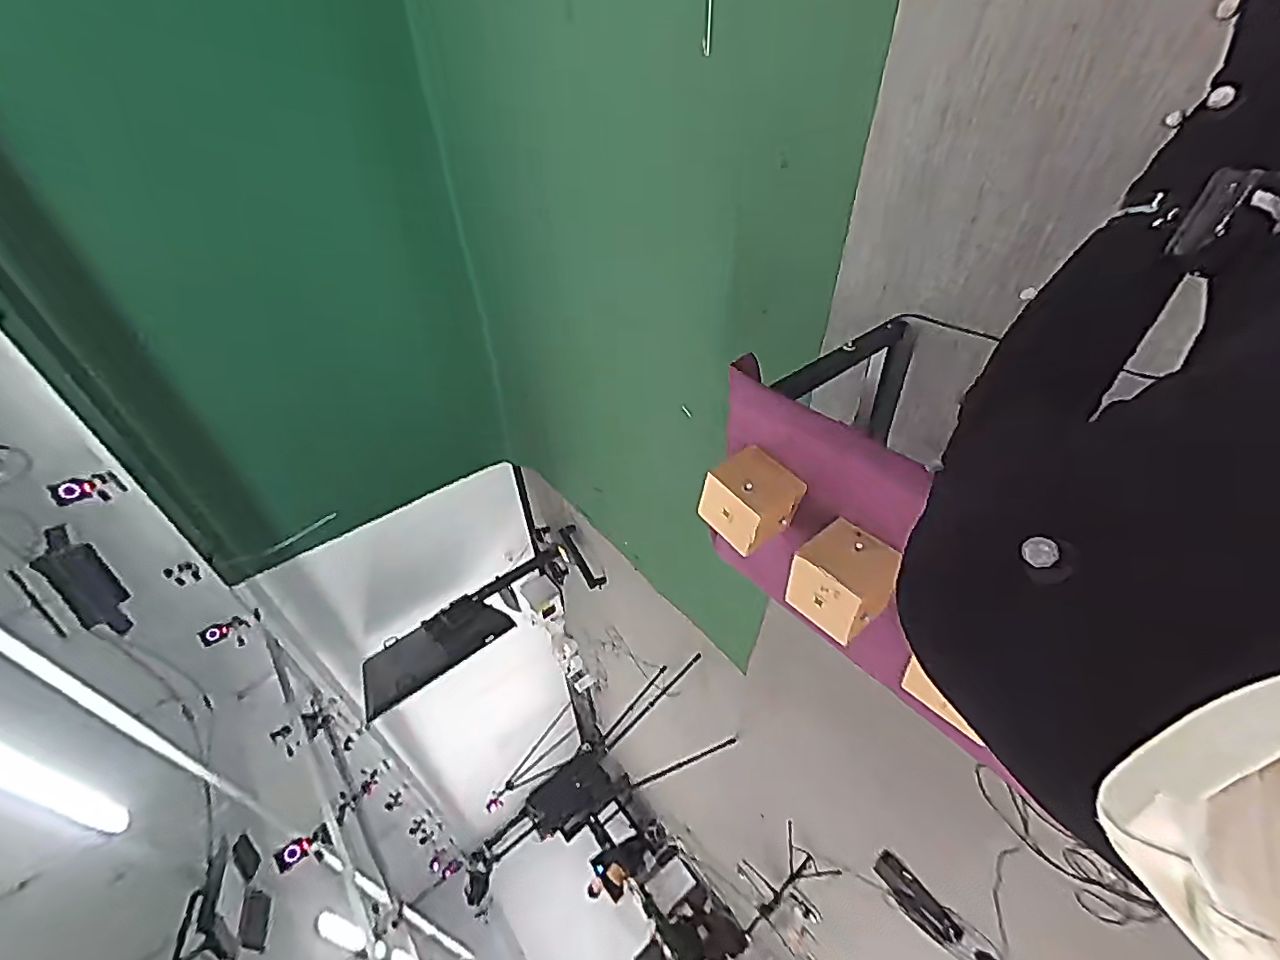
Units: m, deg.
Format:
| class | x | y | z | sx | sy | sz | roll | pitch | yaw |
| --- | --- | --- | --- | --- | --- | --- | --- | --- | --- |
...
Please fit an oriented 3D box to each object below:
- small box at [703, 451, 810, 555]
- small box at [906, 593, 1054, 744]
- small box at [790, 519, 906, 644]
| class | x | y | z | sx | sy | sz | roll | pitch | yaw |
| --- | --- | --- | --- | --- | --- | --- | --- | --- | --- |
| small box | 0.288 | 0.048 | 1.353 | 0.179 | 0.176 | 0.168 | 44 | 149 | 28 |
| small box | 0.646 | 0.350 | 1.031 | 0.168 | 0.176 | 0.179 | 36 | 145 | 40 |
| small box | 0.466 | 0.224 | 1.216 | 0.168 | 0.176 | 0.179 | 37 | 145 | 37 |
